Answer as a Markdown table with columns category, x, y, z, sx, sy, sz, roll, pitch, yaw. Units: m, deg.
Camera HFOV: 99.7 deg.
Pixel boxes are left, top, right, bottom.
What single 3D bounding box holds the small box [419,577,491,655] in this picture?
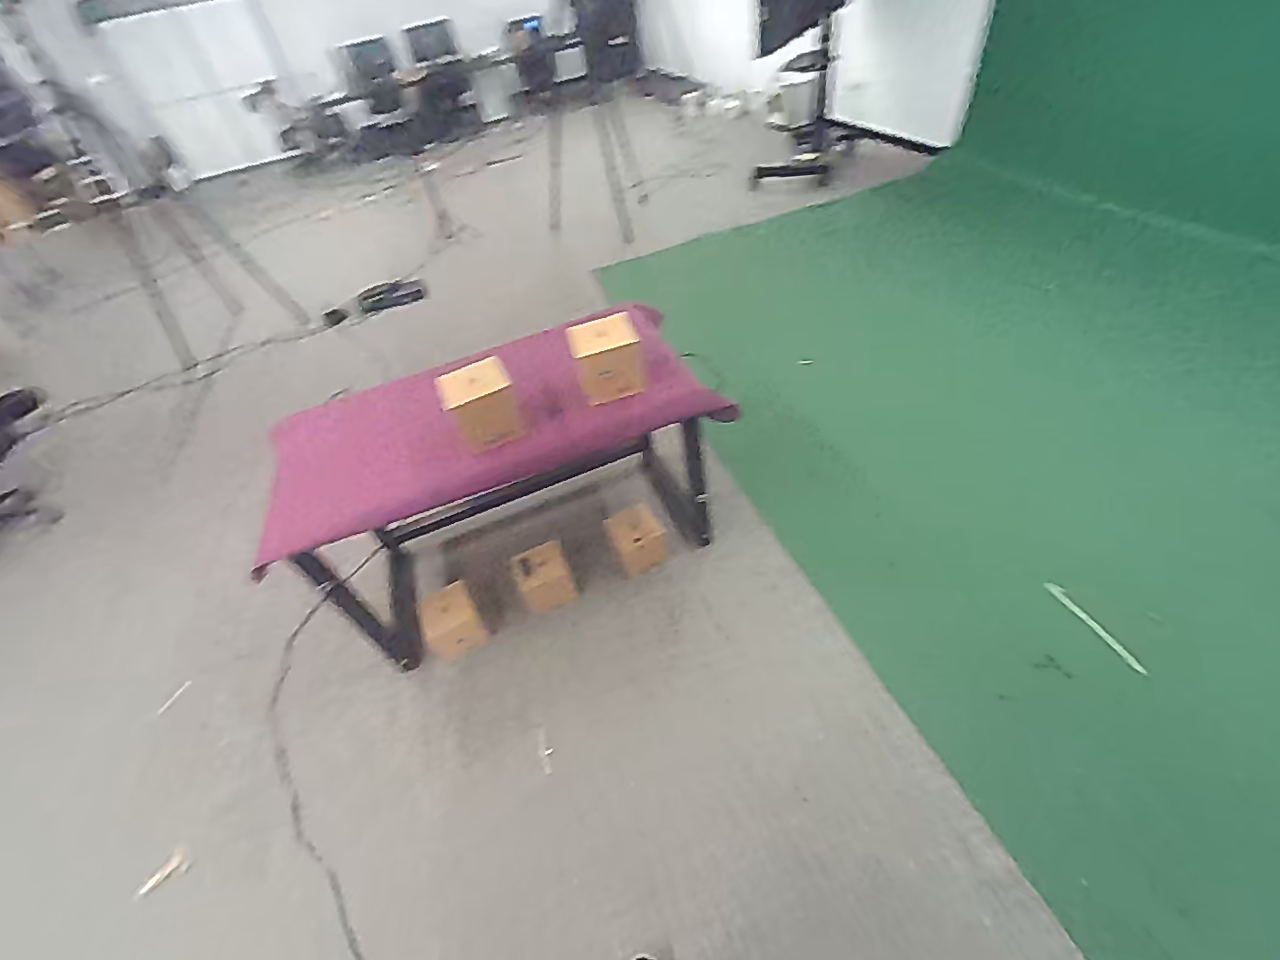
| category | x | y | z | sx | sy | sz | roll | pitch | yaw |
| --- | --- | --- | --- | --- | --- | --- | --- | --- | --- |
| small box | -0.632 | 0.474 | 1.859 | 0.168 | 0.176 | 0.179 | -27 | 46 | -15 |

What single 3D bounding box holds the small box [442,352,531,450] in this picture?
| category | x | y | z | sx | sy | sz | roll | pitch | yaw |
| --- | --- | --- | --- | --- | --- | --- | --- | --- | --- |
| small box | -0.414 | -0.212 | 1.461 | 0.168 | 0.176 | 0.179 | -24 | 46 | -11 |

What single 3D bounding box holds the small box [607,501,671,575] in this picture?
| category | x | y | z | sx | sy | sz | roll | pitch | yaw |
| --- | --- | --- | --- | --- | --- | --- | --- | --- | --- |
| small box | -0.003 | 0.214 | 1.983 | 0.168 | 0.176 | 0.179 | -25 | 46 | -13 |

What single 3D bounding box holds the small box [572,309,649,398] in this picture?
| category | x | y | z | sx | sy | sz | roll | pitch | yaw |
| --- | --- | --- | --- | --- | --- | --- | --- | --- | --- |
| small box | -0.081 | -0.349 | 1.526 | 0.168 | 0.176 | 0.179 | -17 | 44 | -3 |
